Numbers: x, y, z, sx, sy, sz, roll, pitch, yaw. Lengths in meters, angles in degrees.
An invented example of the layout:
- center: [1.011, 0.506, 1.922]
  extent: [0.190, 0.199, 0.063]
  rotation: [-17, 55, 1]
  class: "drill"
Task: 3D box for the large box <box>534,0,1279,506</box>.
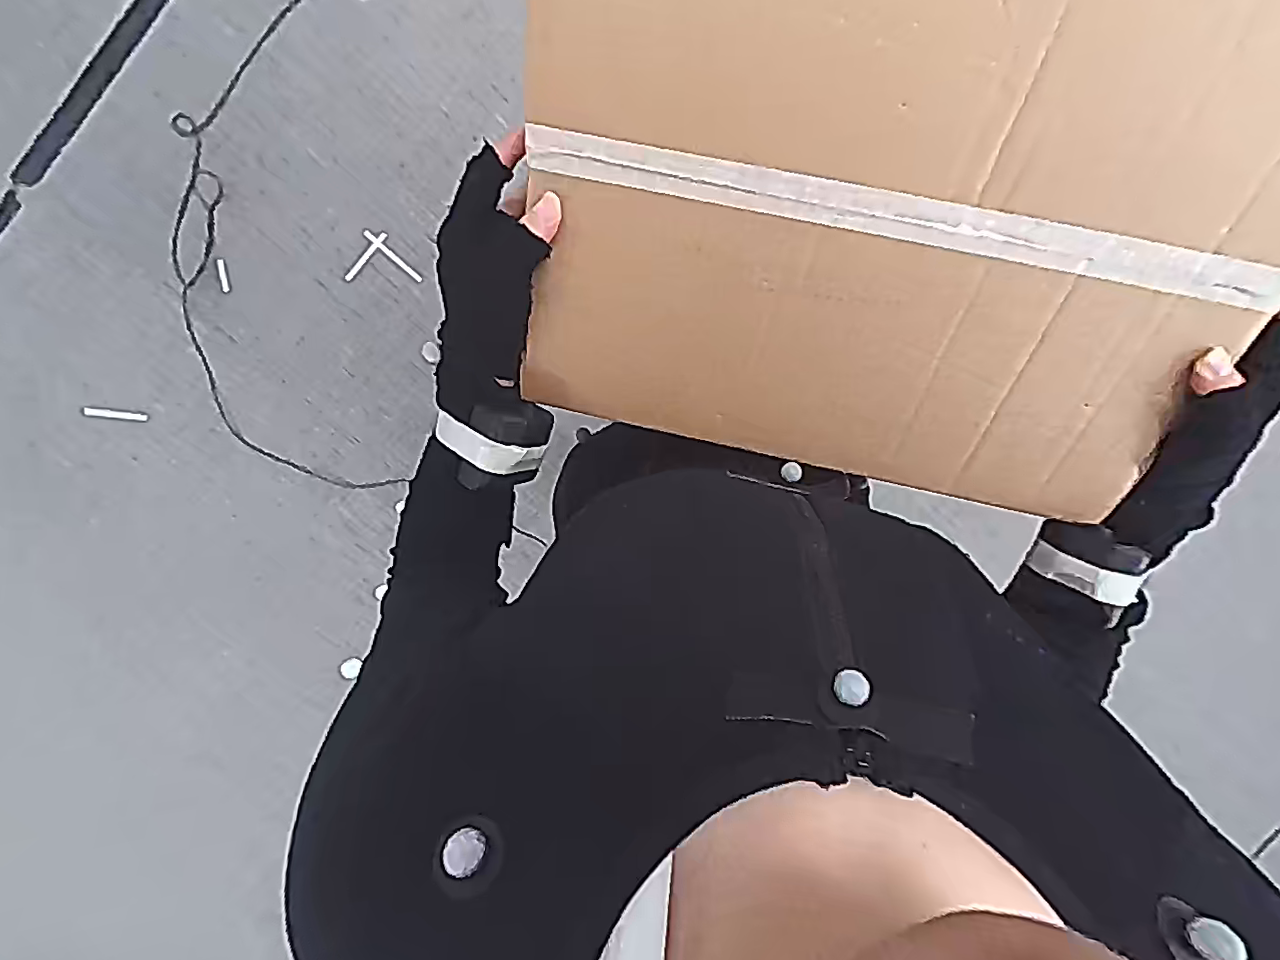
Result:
- center: [0.156, -0.223, 0.424]
  extent: [0.408, 0.320, 0.320]
  rotation: [12, 126, 2]
  class: "large box"
